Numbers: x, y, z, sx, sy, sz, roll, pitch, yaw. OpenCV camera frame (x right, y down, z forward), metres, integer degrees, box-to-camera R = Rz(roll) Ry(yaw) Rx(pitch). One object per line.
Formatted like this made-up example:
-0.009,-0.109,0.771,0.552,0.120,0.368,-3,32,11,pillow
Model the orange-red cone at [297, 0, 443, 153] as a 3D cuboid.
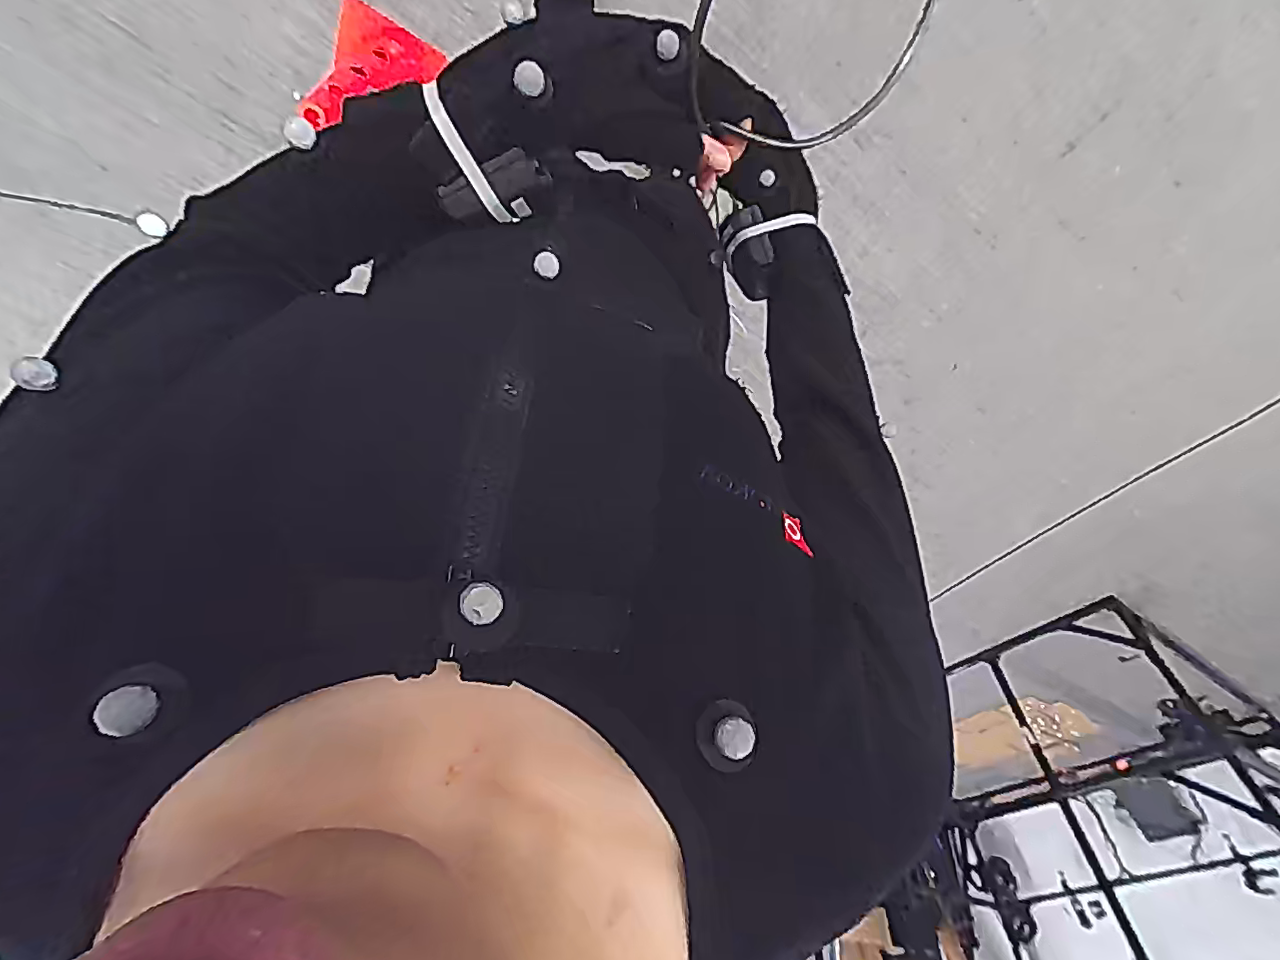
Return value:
-0.506,-0.673,0.946,0.198,0.360,0.199,23,128,-22,orange-red cone
